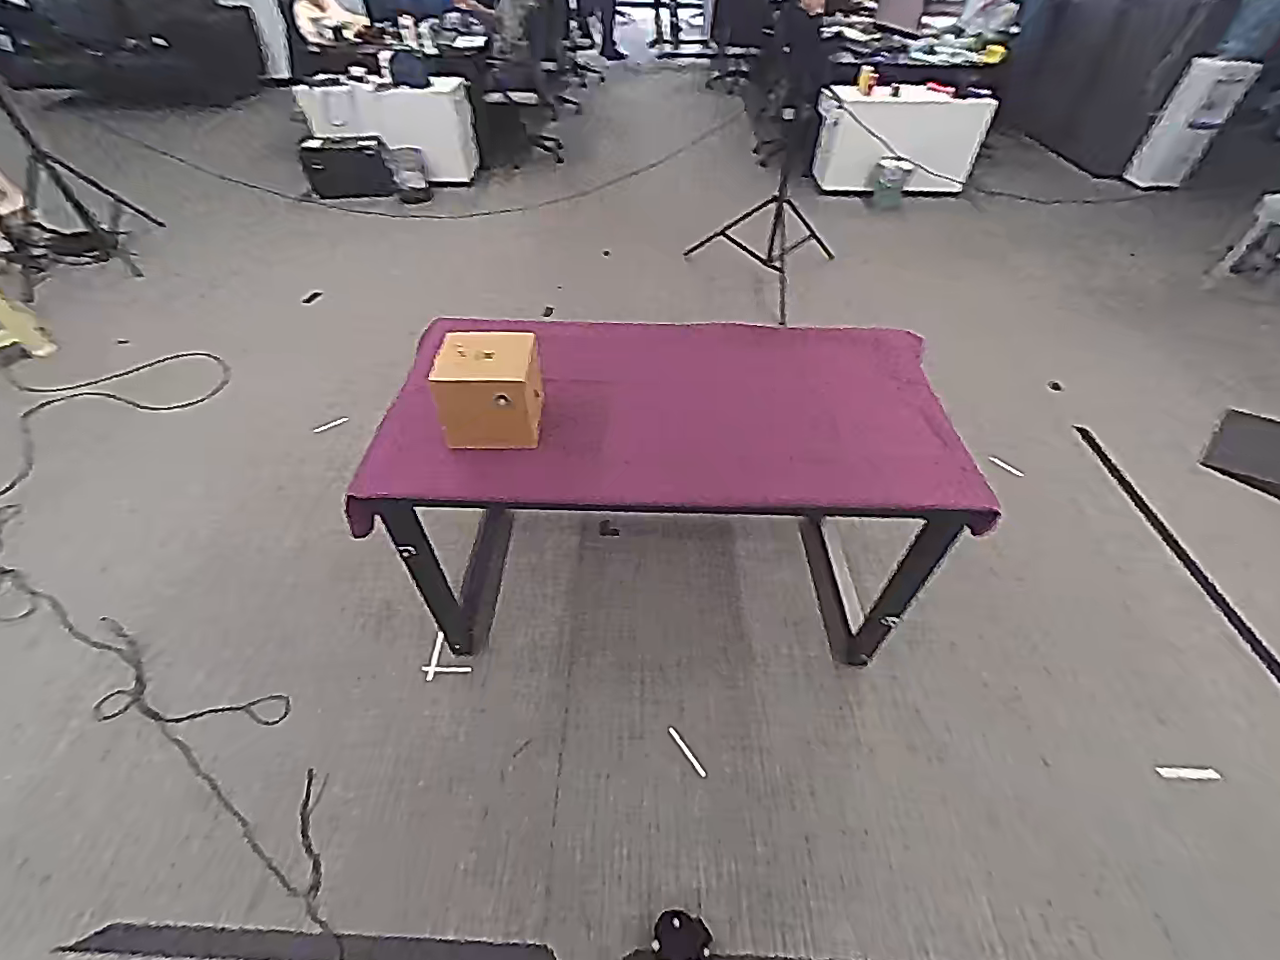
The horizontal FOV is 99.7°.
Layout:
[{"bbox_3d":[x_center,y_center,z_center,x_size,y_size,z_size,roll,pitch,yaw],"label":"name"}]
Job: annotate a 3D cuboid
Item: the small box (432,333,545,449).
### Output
[{"bbox_3d":[-0.290,-0.175,1.082,0.179,0.176,0.168,-1,45,-1],"label":"small box"}]
